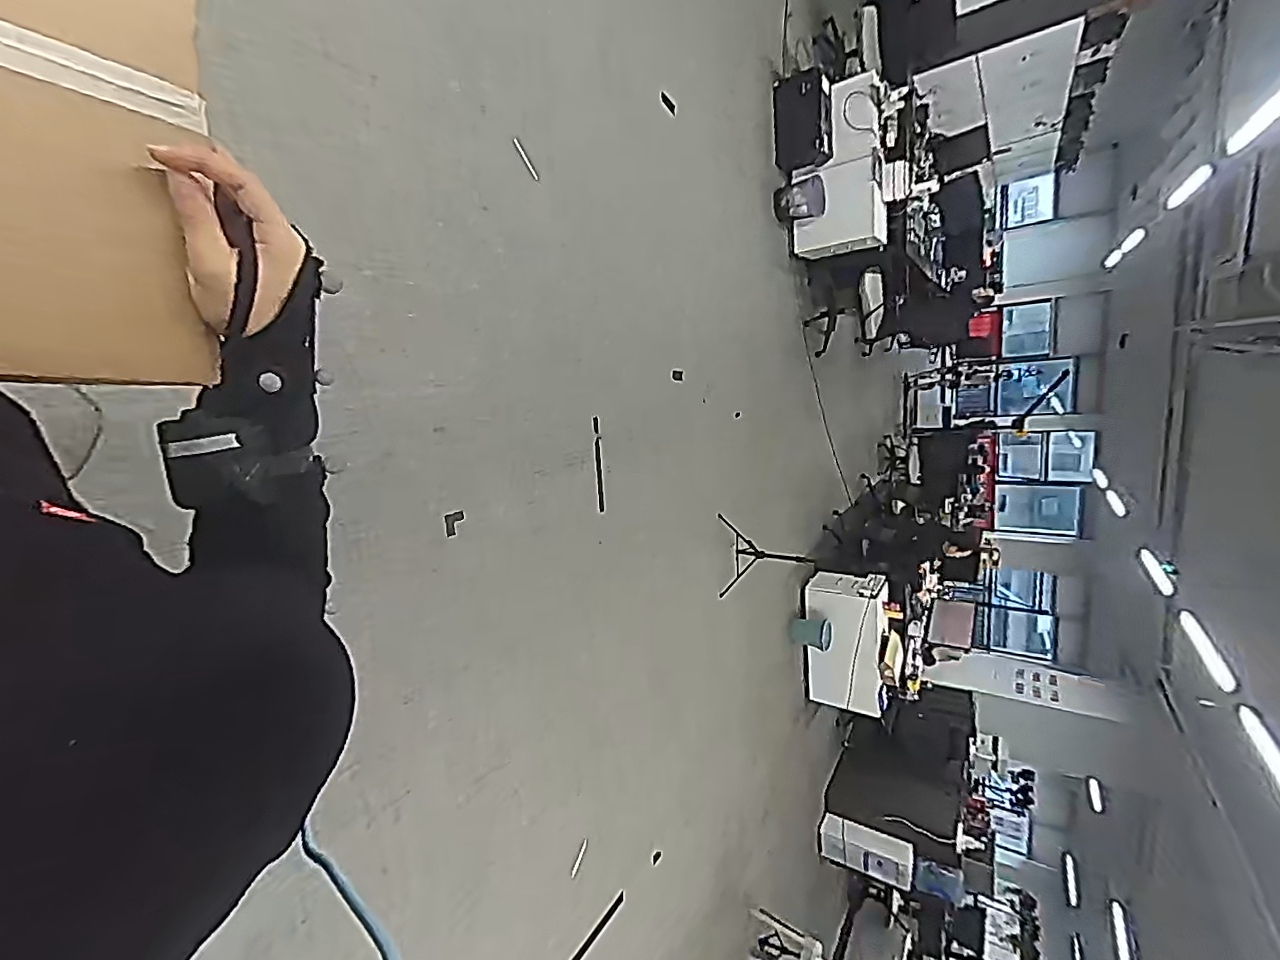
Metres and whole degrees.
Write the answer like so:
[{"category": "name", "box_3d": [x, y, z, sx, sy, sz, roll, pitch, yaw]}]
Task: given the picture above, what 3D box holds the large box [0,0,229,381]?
[{"category": "large box", "box_3d": [-0.508, -0.214, 0.270, 0.408, 0.320, 0.320, -9, 104, -52]}]
